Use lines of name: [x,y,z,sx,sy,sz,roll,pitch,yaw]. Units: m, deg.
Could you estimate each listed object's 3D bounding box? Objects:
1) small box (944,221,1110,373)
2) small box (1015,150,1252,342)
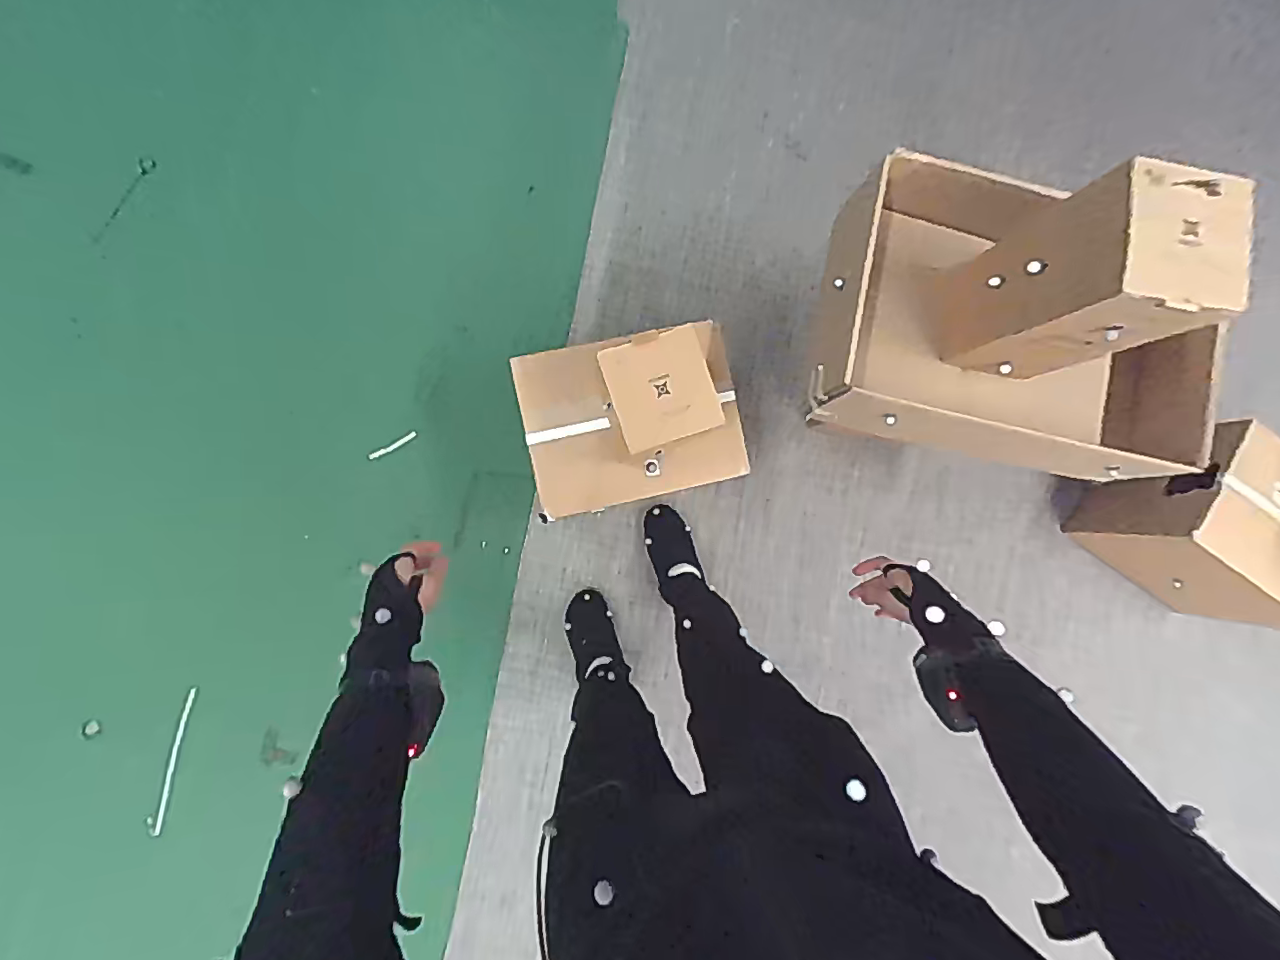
small box: [0.640,-0.294,0.899,0.168,0.176,0.179,10,87,-5]
small box: [0.652,-0.301,0.736,0.168,0.176,0.179,8,88,-6]
